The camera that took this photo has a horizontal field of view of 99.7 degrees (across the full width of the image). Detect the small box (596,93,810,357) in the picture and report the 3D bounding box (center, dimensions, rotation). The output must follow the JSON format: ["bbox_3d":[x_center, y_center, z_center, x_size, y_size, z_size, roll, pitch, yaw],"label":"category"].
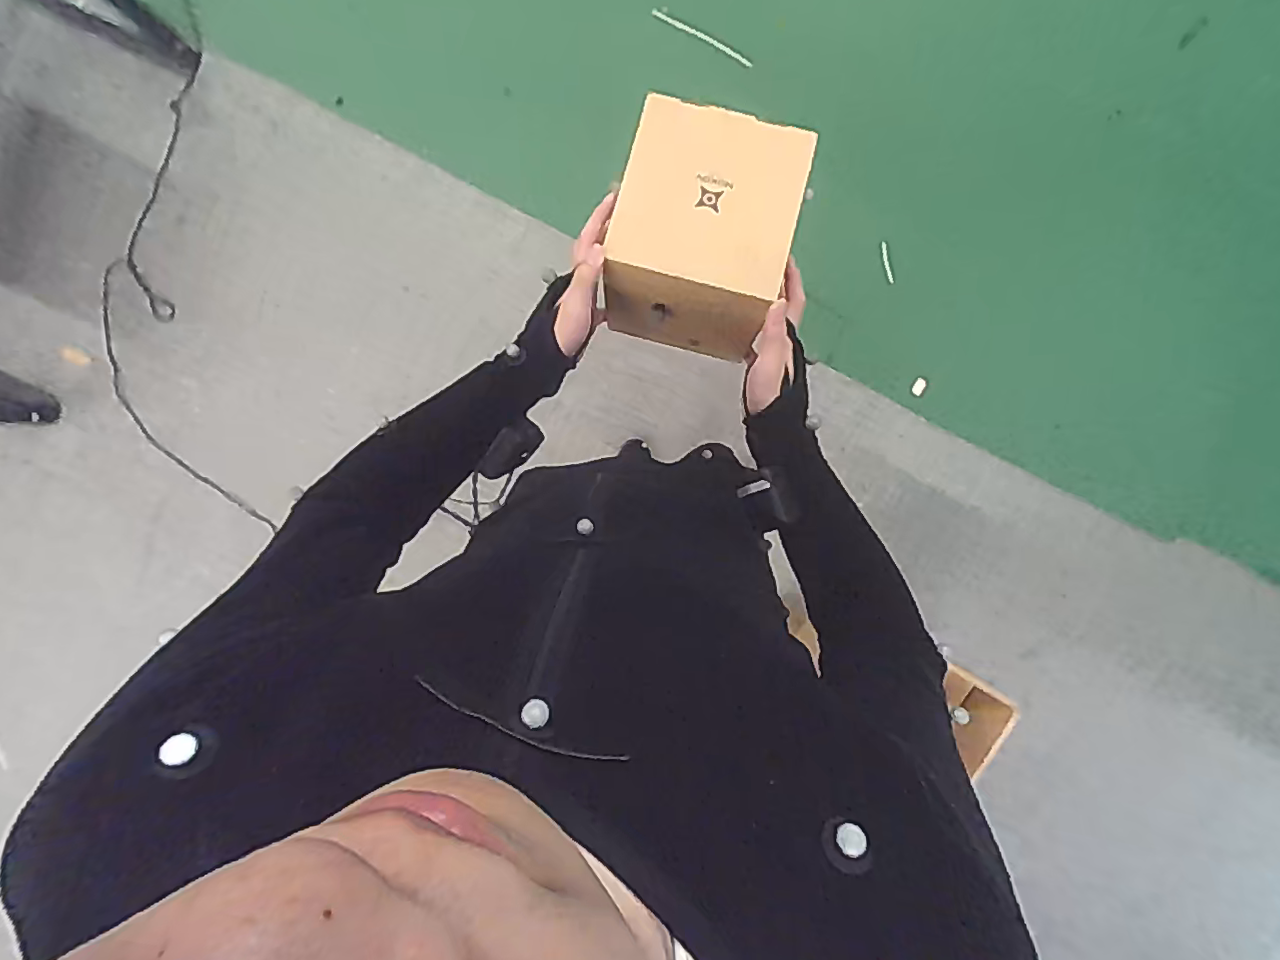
[{"bbox_3d":[0.059,-0.251,0.573,0.168,0.176,0.179,14,82,1],"label":"small box"}]
